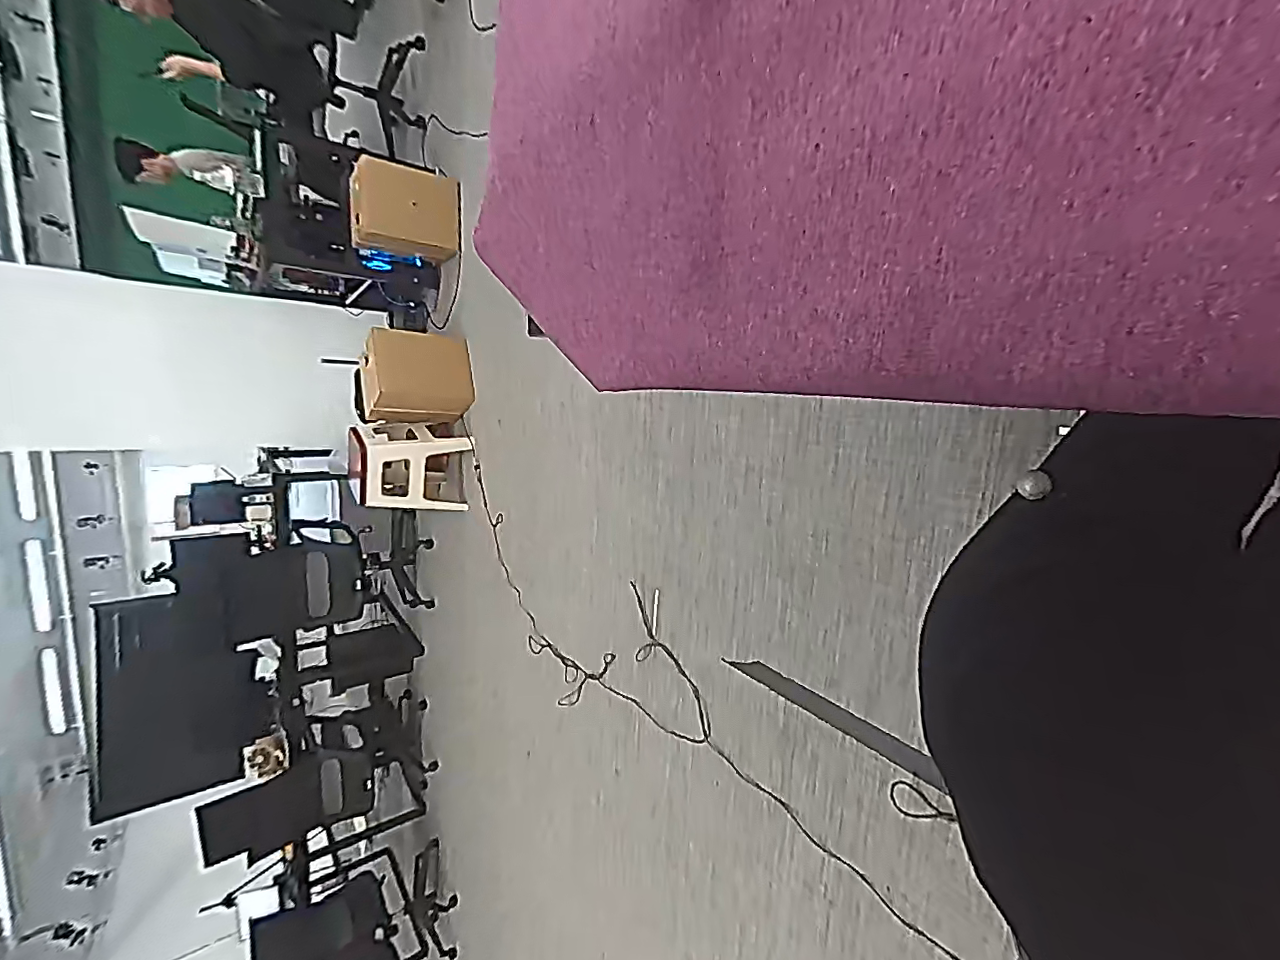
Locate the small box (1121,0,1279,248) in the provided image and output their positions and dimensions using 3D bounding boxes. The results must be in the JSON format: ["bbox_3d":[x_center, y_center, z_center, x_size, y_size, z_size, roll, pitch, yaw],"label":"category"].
[{"bbox_3d":[0.546,-0.317,0.458,0.168,0.176,0.179,10,103,53],"label":"small box"}]
